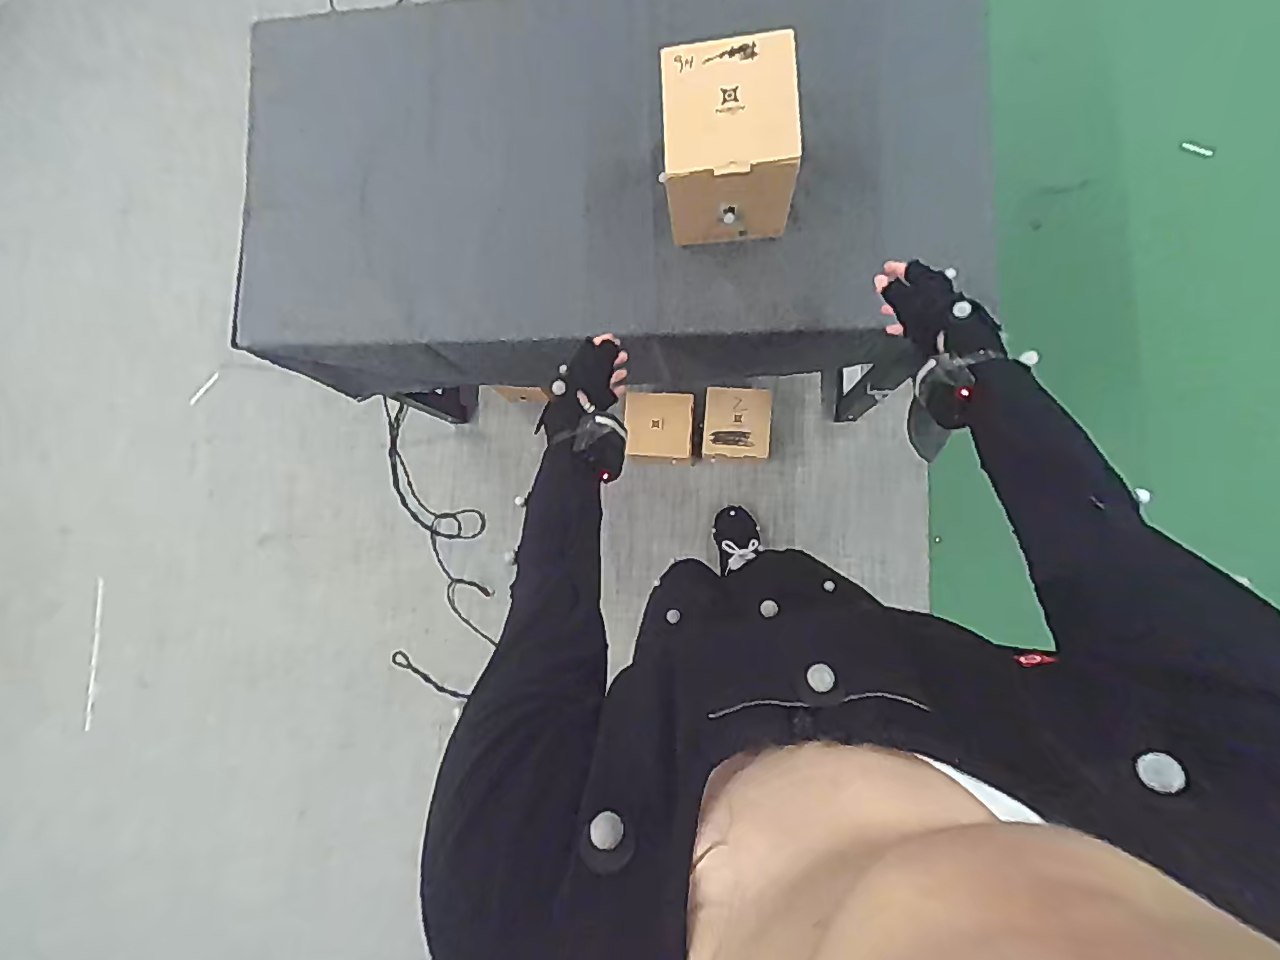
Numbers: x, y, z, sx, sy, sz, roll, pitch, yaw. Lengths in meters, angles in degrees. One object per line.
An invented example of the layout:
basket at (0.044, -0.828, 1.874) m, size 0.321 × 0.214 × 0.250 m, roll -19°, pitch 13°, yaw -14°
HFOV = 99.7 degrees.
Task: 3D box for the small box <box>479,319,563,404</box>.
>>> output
small box at (-0.324, -0.326, 1.508) m, size 0.168 × 0.176 × 0.179 m, roll 8°, pitch 85°, yaw 9°

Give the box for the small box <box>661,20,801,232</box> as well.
small box at (0.119, -0.455, 0.728) m, size 0.168 × 0.176 × 0.179 m, roll -2°, pitch 85°, yaw 7°
